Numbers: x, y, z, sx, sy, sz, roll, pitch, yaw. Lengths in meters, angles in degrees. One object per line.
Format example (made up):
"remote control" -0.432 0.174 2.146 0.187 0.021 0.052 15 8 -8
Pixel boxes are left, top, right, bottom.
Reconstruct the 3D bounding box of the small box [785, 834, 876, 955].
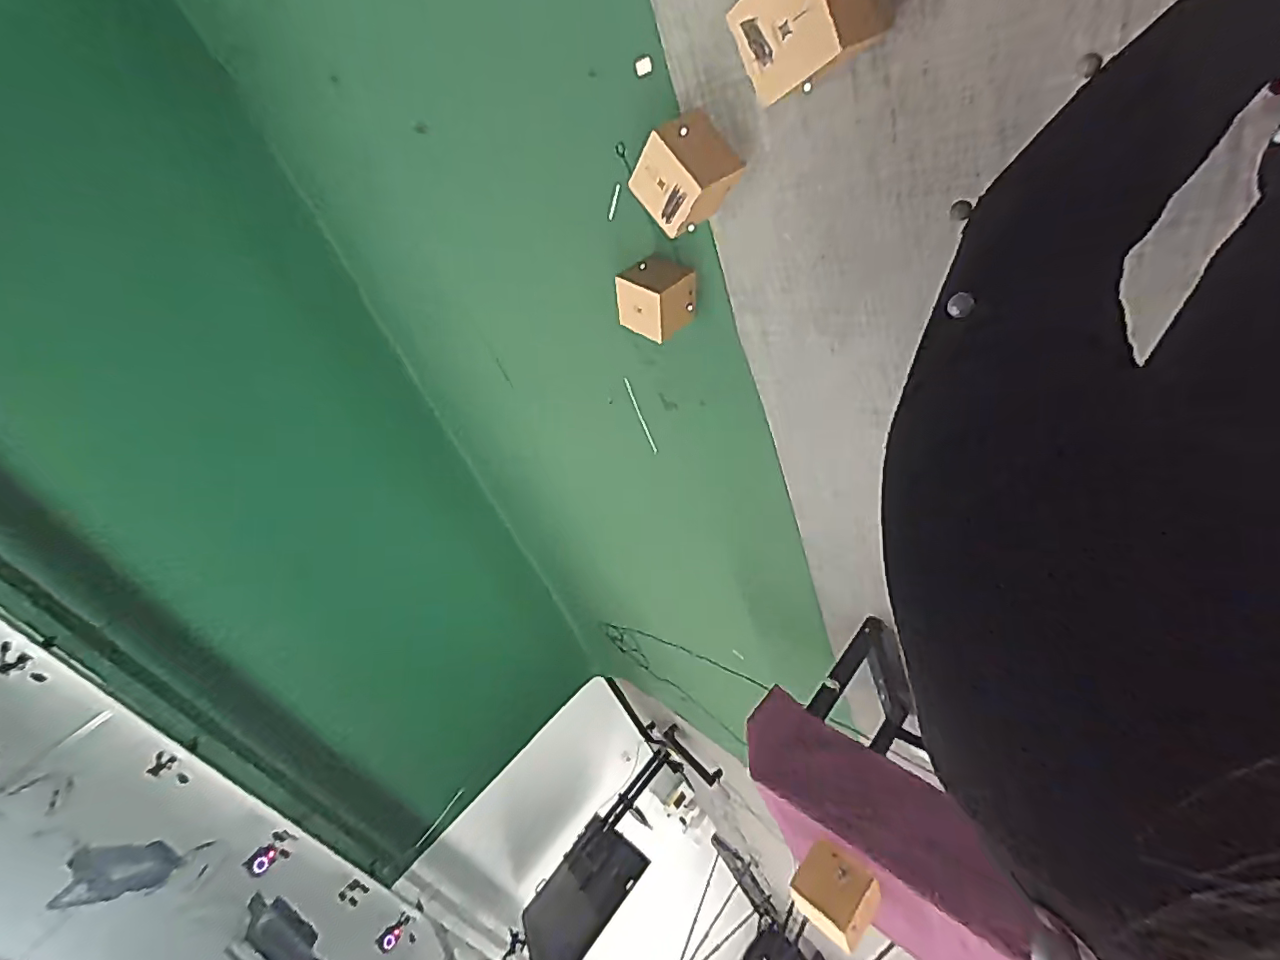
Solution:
"small box" 0.525 1.124 1.475 0.168 0.176 0.179 17 138 46

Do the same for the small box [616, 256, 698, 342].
"small box" 0.052 -0.551 1.629 0.179 0.176 0.168 34 149 28

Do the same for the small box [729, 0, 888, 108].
"small box" 0.295 -0.800 0.945 0.179 0.176 0.168 0 126 55
